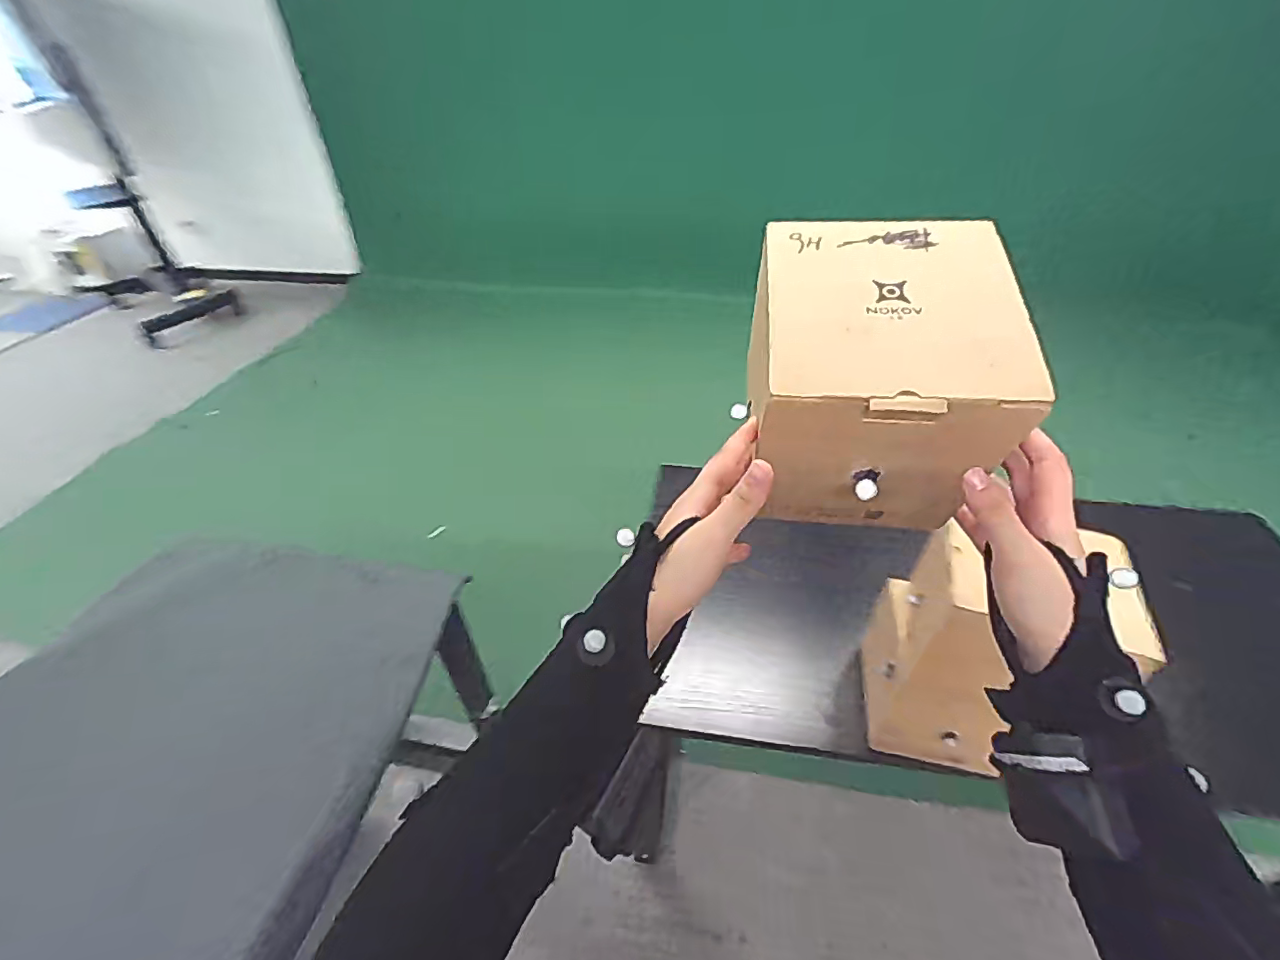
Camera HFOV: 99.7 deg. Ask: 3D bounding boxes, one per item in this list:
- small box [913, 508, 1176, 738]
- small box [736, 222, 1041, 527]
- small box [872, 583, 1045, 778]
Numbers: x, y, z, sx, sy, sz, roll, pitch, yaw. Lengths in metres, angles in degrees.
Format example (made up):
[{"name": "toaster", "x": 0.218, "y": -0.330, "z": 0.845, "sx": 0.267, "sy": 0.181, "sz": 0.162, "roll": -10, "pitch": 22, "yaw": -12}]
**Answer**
[{"name": "small box", "x": 0.432, "y": 0.162, "z": 0.614, "sx": 0.179, "sy": 0.176, "sz": 0.168, "roll": 13, "pitch": 42, "yaw": 17}, {"name": "small box", "x": 0.167, "y": -0.074, "z": 0.429, "sx": 0.168, "sy": 0.176, "sz": 0.179, "roll": 2, "pitch": 60, "yaw": 7}, {"name": "small box", "x": 0.426, "y": 0.272, "z": 0.736, "sx": 0.168, "sy": 0.176, "sz": 0.179, "roll": 8, "pitch": 41, "yaw": 11}]
